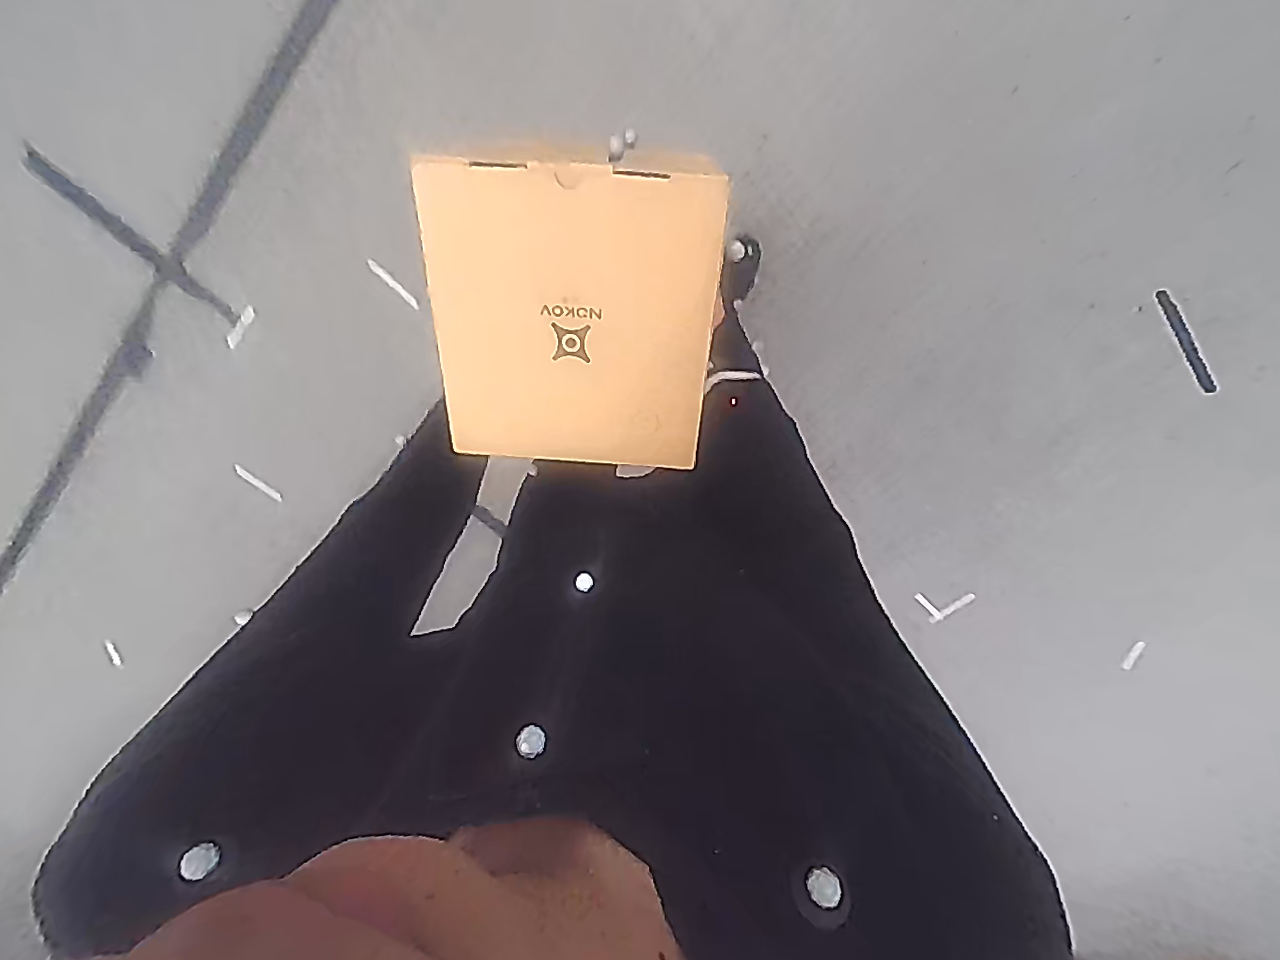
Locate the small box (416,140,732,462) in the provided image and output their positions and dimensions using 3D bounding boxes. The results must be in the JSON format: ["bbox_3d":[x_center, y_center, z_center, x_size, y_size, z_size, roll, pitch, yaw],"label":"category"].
[{"bbox_3d":[-0.033,-0.134,0.386,0.168,0.176,0.179,4,123,1],"label":"small box"}]
